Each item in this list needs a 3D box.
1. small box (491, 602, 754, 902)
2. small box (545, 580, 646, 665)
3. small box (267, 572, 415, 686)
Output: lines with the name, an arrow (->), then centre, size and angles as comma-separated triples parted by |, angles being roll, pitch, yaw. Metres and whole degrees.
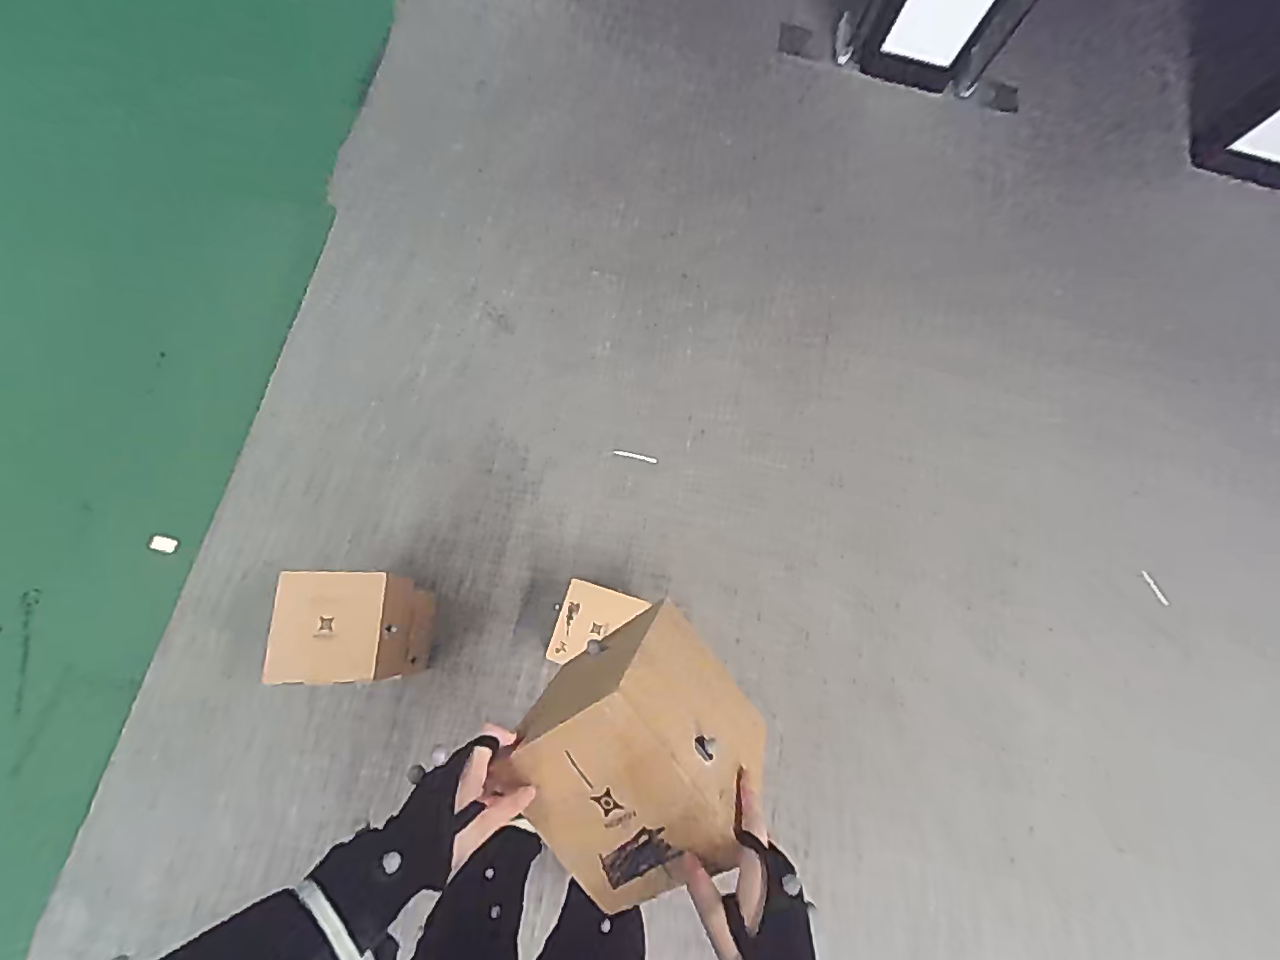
small box -> -0.003, 0.256, 0.541 | 0.168, 0.176, 0.179 | -39, 90, 21
small box -> -0.088, 0.321, 1.148 | 0.179, 0.176, 0.168 | 19, 74, -2
small box -> -0.506, 0.257, 0.942 | 0.168, 0.176, 0.179 | 3, 75, -7
